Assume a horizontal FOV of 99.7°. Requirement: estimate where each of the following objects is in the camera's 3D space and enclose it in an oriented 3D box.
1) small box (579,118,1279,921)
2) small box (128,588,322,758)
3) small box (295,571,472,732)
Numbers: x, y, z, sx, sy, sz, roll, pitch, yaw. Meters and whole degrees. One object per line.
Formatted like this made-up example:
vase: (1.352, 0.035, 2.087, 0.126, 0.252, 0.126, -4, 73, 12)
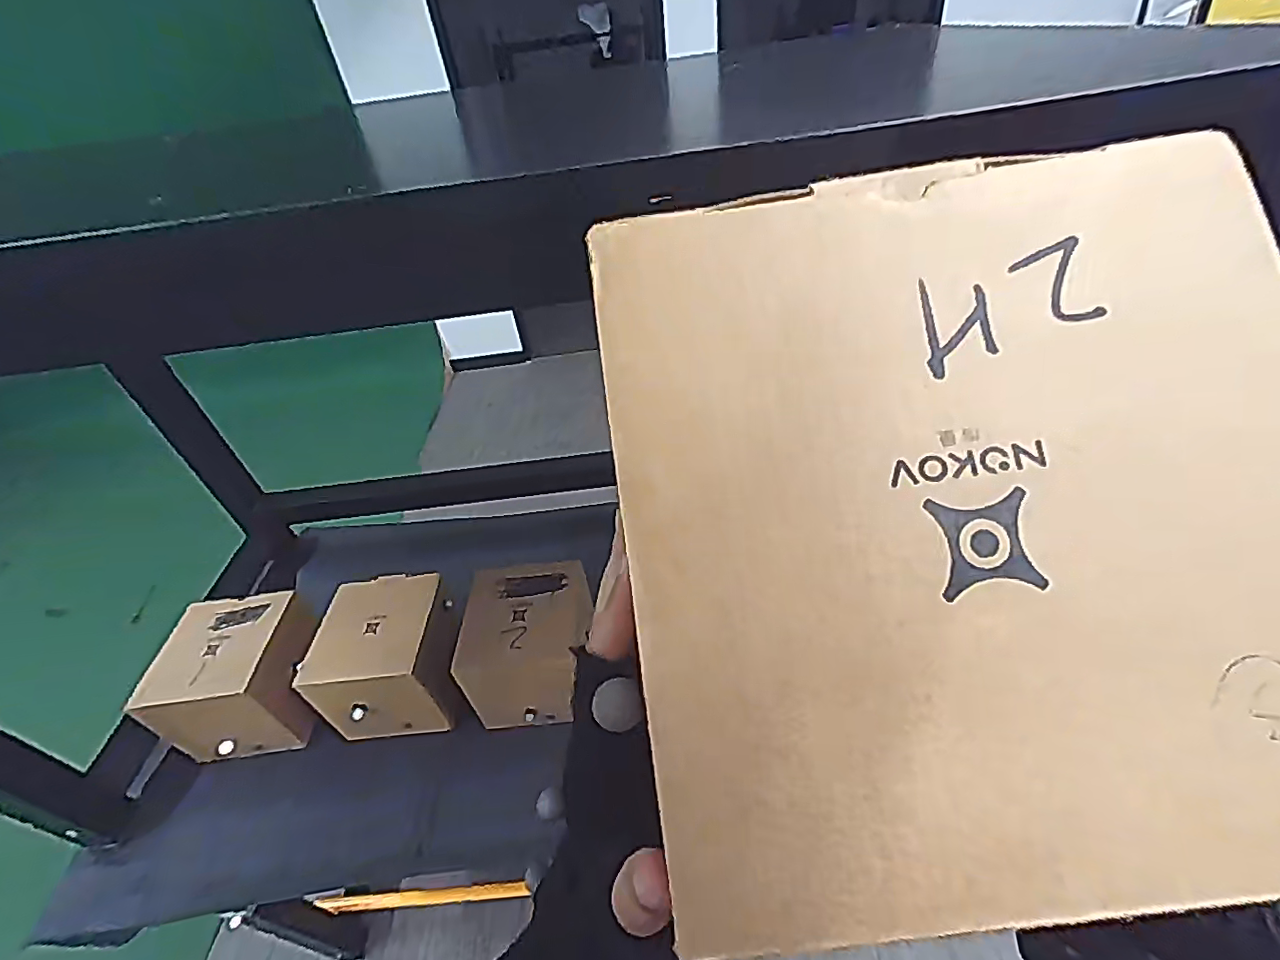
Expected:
small box: (0.078, 0.014, 0.207, 0.168, 0.176, 0.179, -7, 80, 1)
small box: (-0.598, 0.295, 0.830, 0.168, 0.176, 0.179, -8, 40, 0)
small box: (-0.373, 0.267, 0.828, 0.168, 0.176, 0.179, -6, 39, 2)
